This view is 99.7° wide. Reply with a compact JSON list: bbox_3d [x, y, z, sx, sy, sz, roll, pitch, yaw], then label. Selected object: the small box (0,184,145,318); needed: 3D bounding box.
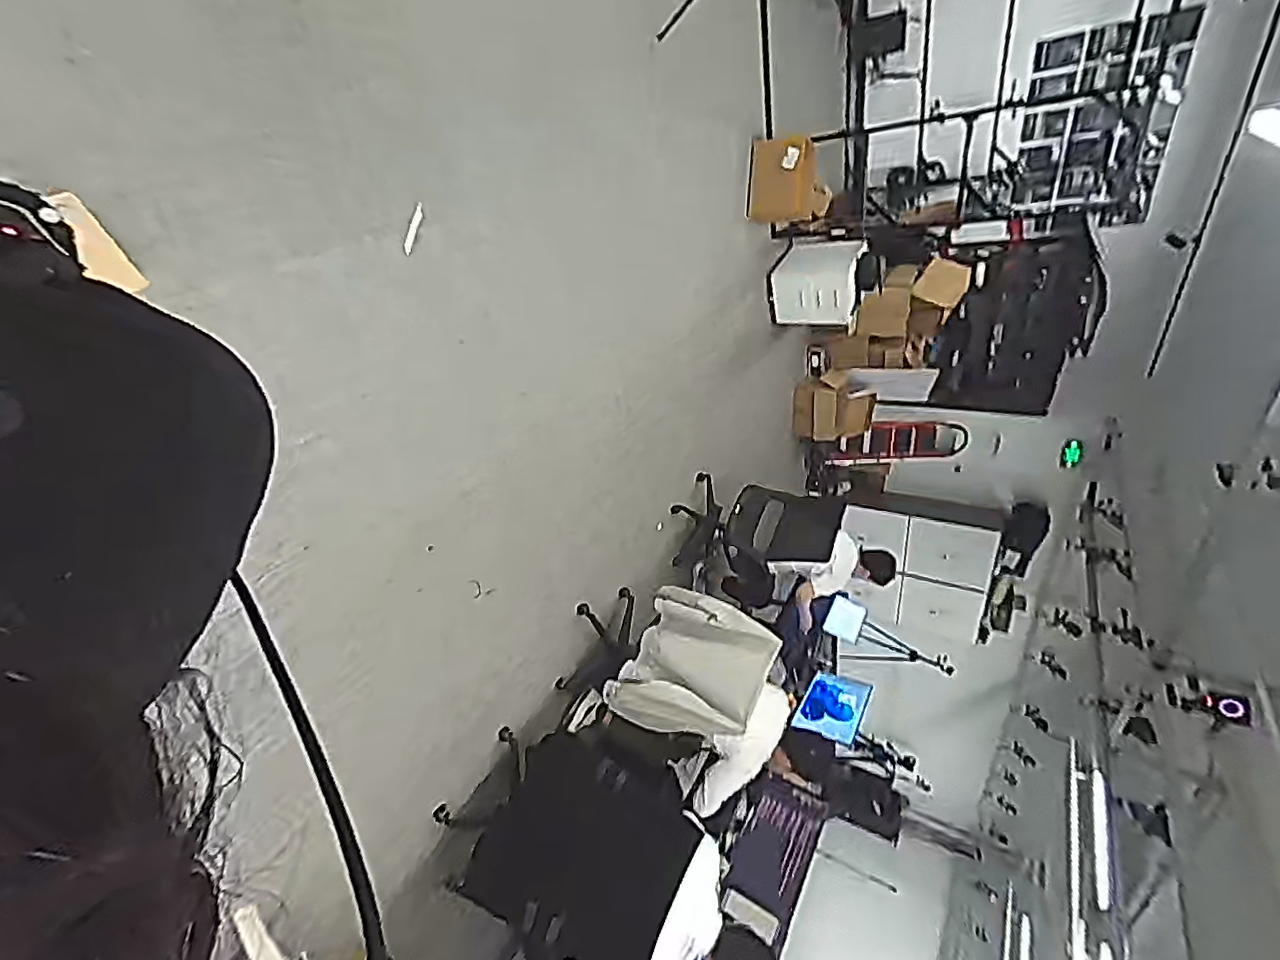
[{"bbox_3d":[-1.077,-0.414,0.982,0.168,0.176,0.179,-53,140,-36],"label":"small box"}]
